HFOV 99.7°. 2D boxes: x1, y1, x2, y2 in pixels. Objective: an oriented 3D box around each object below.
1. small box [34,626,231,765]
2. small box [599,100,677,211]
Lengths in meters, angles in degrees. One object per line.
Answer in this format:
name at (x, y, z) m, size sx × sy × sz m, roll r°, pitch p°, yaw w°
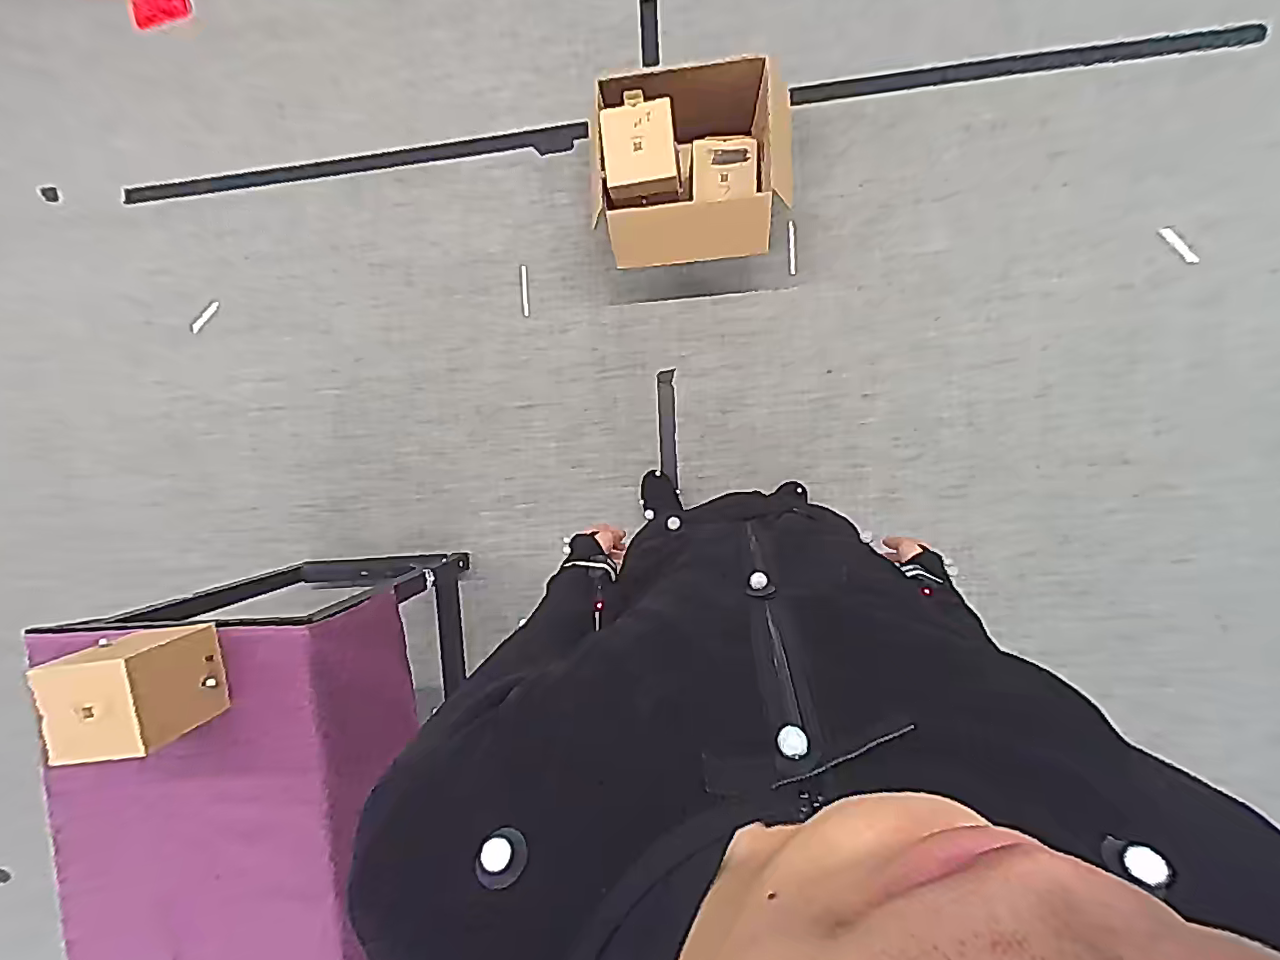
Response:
small box at (-0.872, 0.368, 0.944) m, size 0.179 × 0.176 × 0.168 m, roll -8°, pitch 94°, yaw 7°
small box at (0.001, -0.782, 1.326) m, size 0.168 × 0.176 × 0.179 m, roll -5°, pitch 94°, yaw 6°
